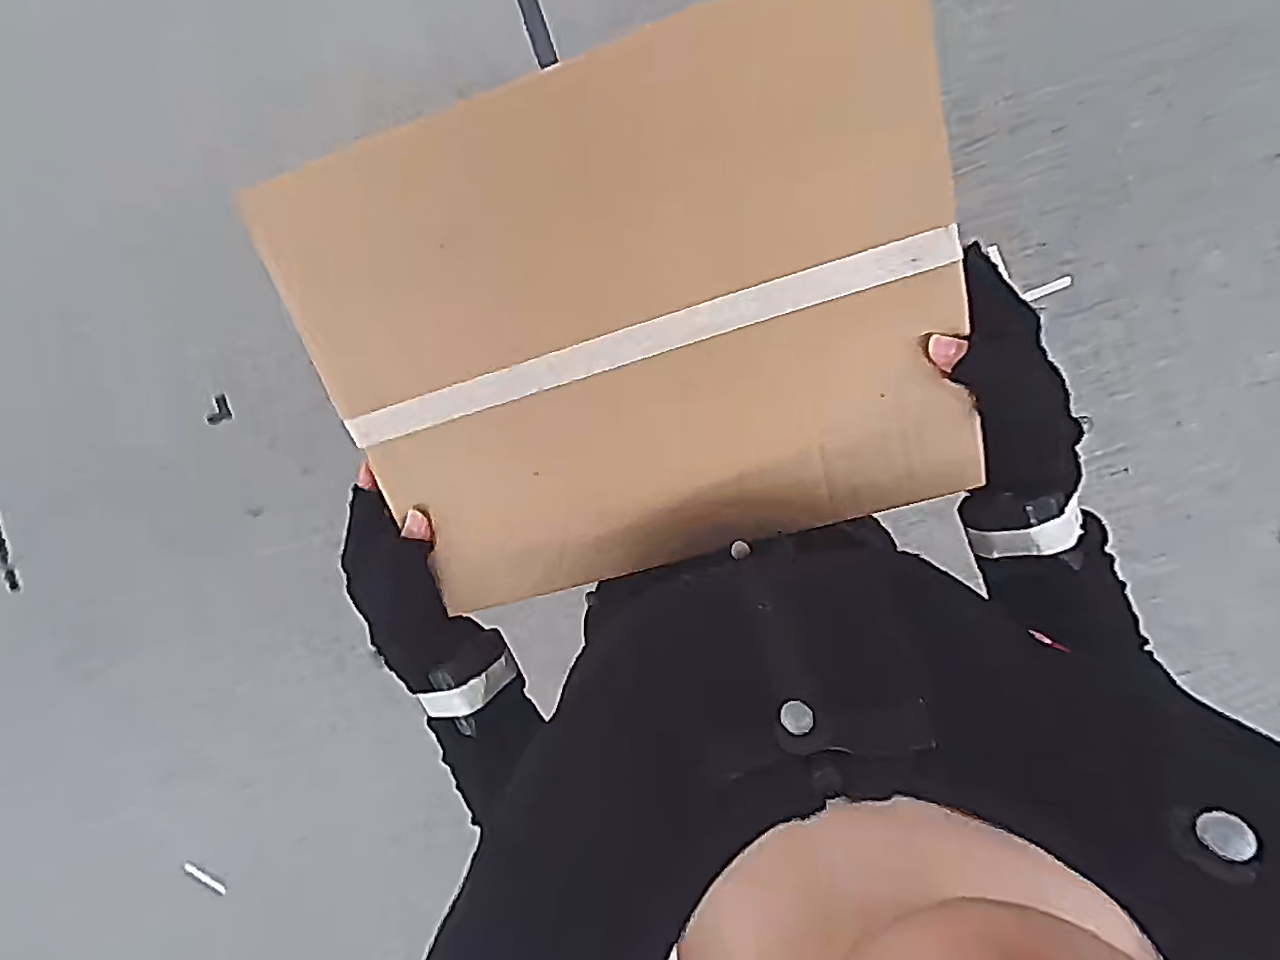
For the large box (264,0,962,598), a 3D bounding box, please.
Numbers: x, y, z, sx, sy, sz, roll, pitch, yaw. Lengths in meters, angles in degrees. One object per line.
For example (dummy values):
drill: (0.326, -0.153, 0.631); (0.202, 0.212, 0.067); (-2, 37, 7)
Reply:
large box: (-0.002, -0.144, 0.497); (0.408, 0.320, 0.320); (-15, 109, 9)
